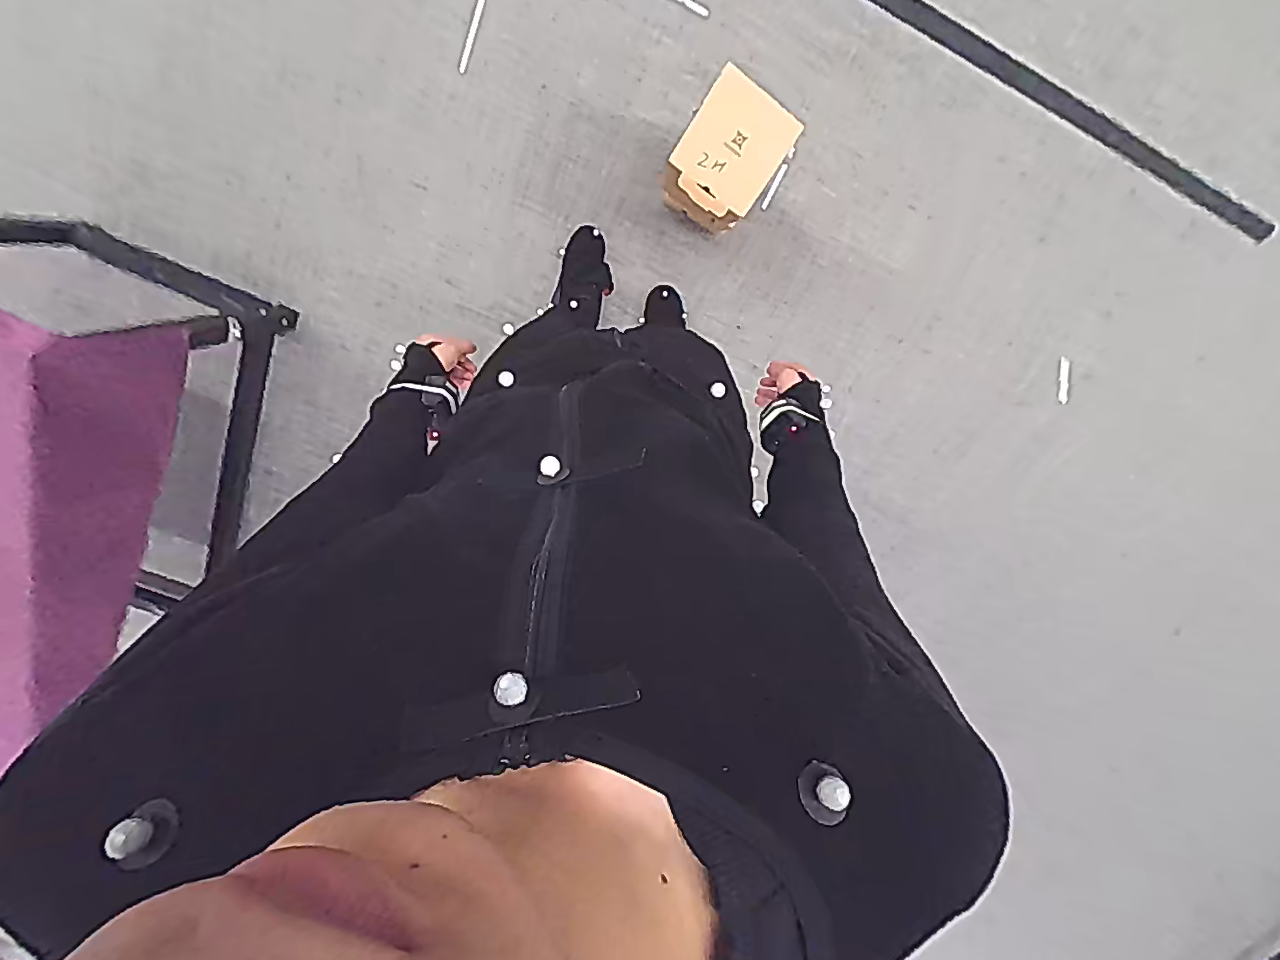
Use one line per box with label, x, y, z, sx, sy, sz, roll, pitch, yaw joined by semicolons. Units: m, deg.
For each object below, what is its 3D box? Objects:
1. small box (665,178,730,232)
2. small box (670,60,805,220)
small box;0.172;-0.721;1.304;0.168;0.176;0.179;27;111;-11
small box;0.165;-0.607;0.993;0.168;0.176;0.179;33;110;-13
